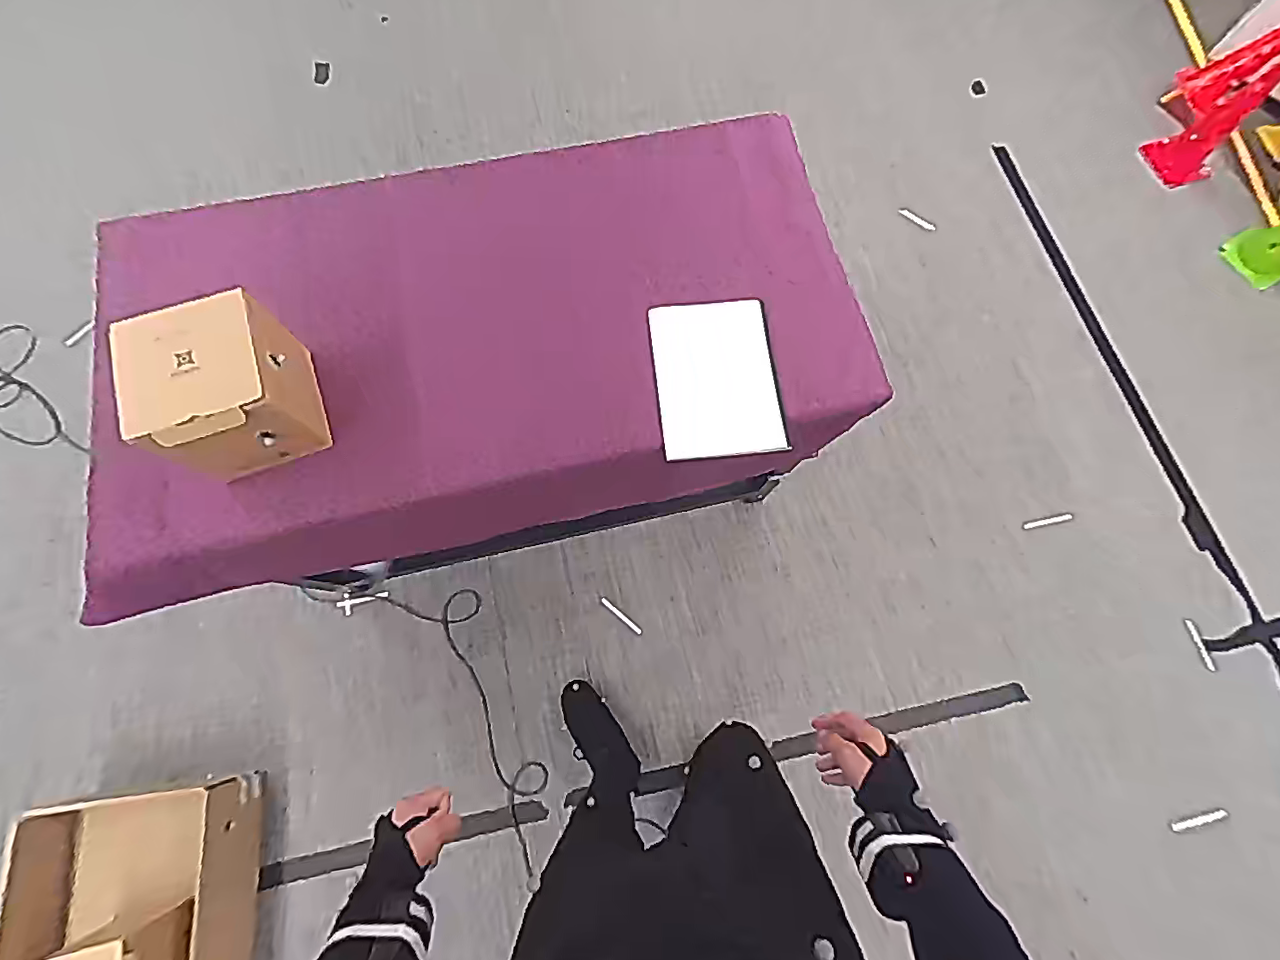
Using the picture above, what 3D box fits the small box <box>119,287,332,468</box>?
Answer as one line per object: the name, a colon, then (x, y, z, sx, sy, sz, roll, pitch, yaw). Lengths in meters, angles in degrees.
small box: (-0.563, -0.129, 0.756, 0.168, 0.176, 0.179, -19, 75, -8)
